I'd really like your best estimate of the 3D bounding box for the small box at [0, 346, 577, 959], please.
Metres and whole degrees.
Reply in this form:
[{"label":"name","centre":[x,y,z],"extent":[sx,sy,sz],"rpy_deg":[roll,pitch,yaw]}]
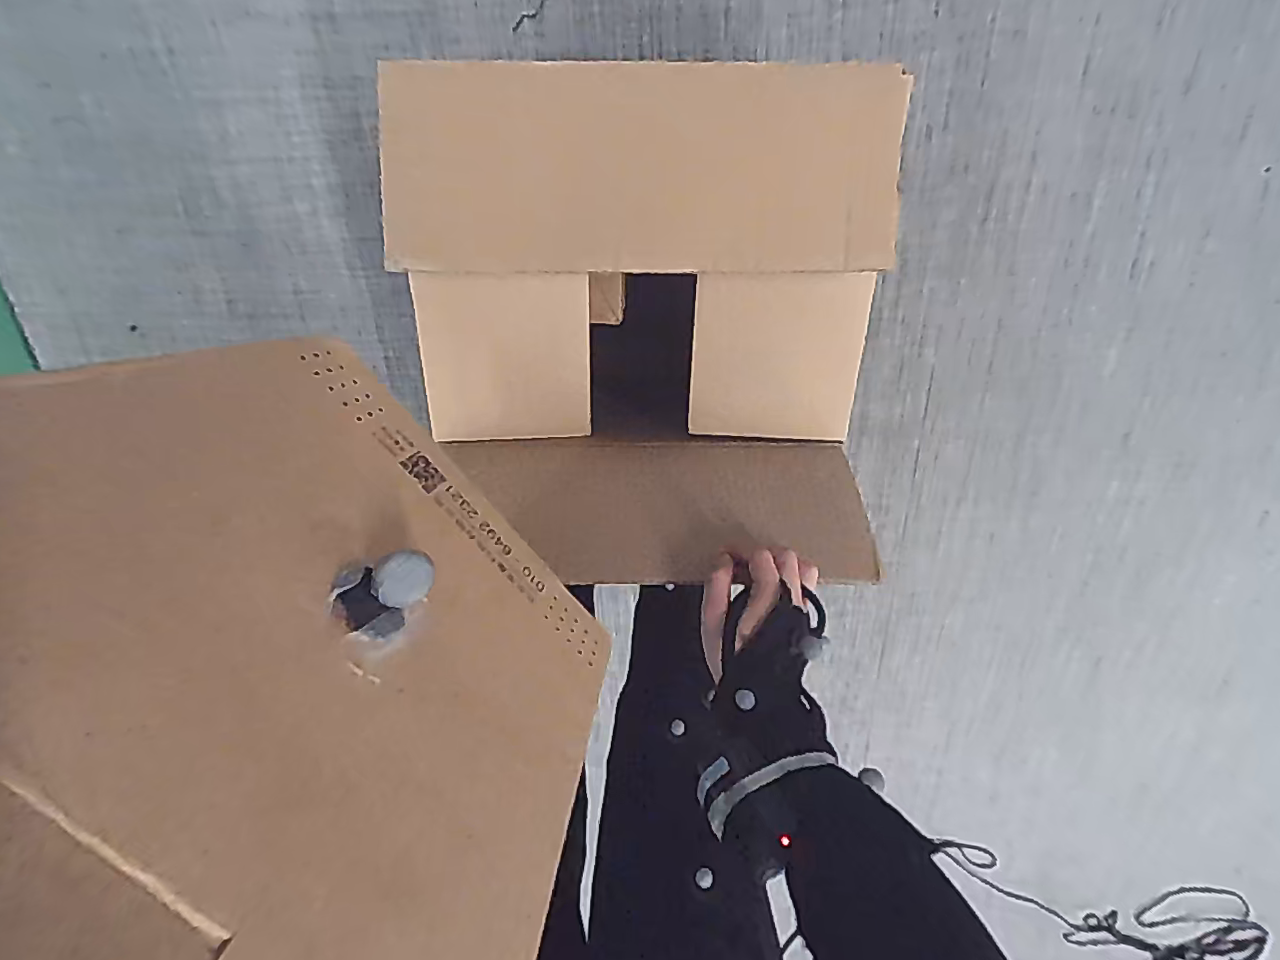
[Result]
[{"label":"small box","centre":[-0.135,0.079,0.163],"extent":[0.179,0.176,0.168],"rpy_deg":[-36,103,16]}]
